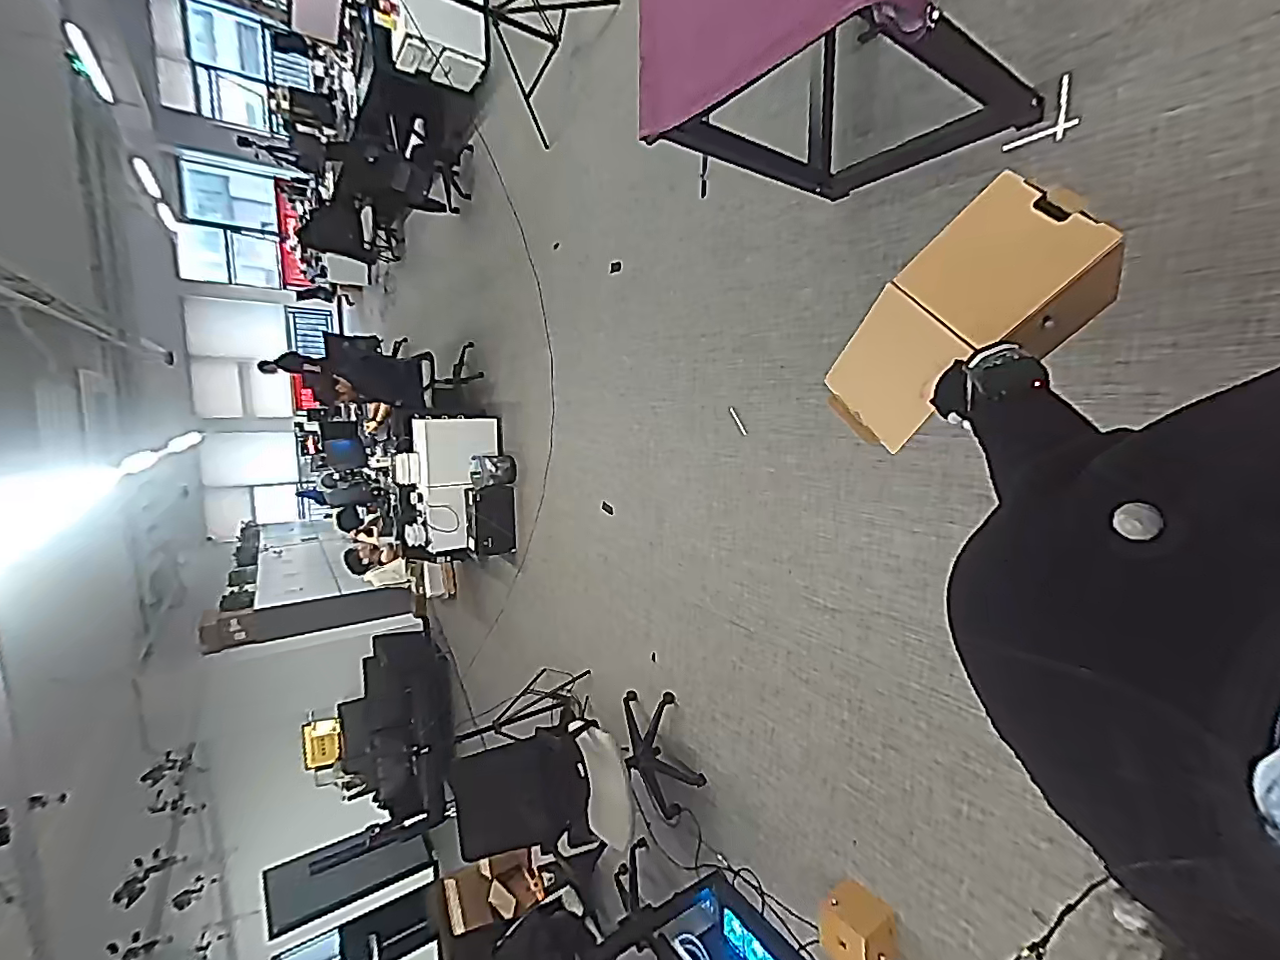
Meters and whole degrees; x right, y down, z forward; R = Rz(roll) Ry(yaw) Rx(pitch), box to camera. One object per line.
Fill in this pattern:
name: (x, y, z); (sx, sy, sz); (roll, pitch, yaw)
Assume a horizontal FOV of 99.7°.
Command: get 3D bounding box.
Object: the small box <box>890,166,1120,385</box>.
small box: (0.471, -0.251, 0.704); (0.179, 0.176, 0.168); (-45, 57, 23)
